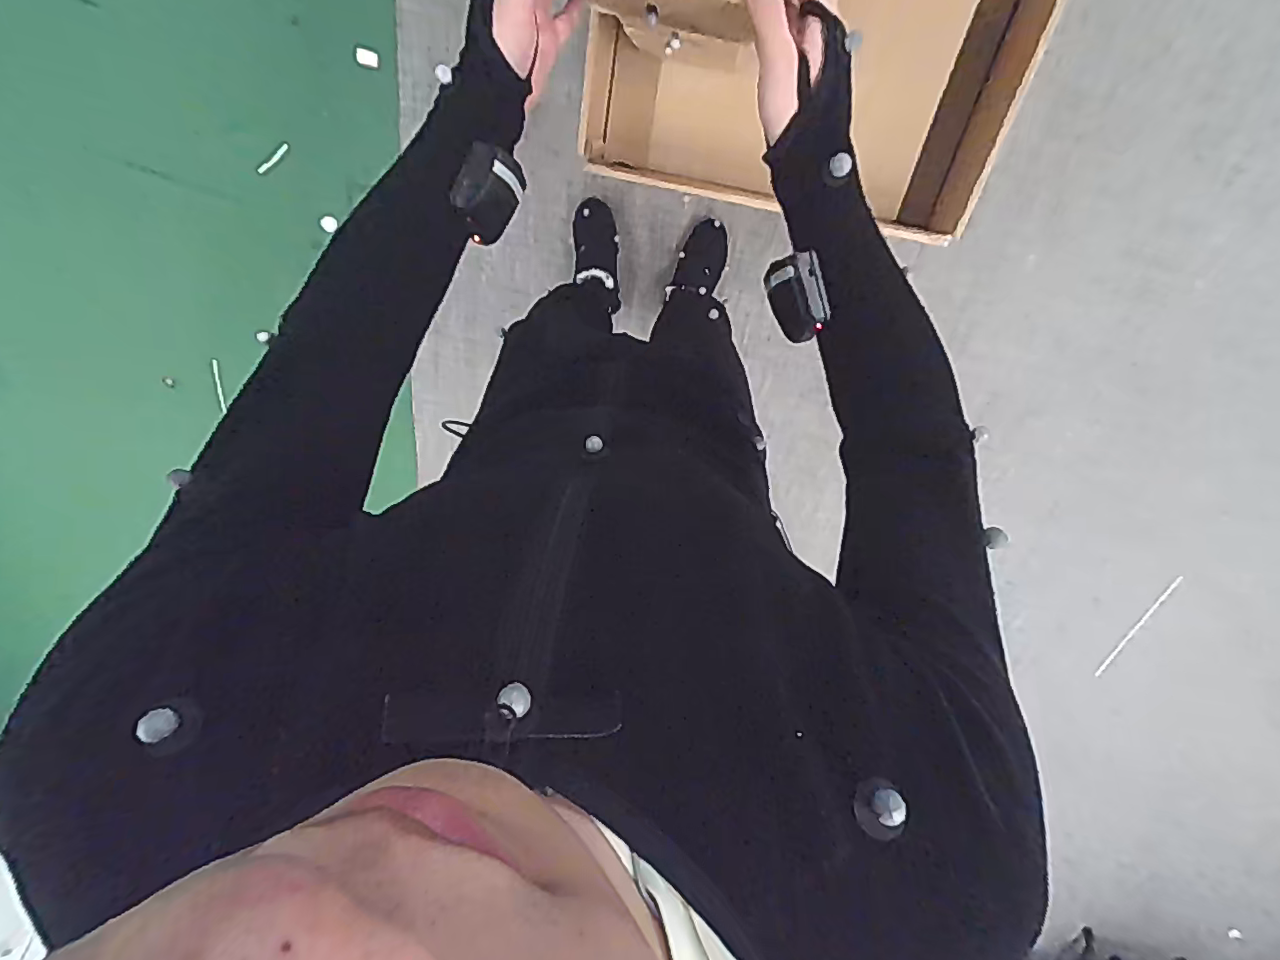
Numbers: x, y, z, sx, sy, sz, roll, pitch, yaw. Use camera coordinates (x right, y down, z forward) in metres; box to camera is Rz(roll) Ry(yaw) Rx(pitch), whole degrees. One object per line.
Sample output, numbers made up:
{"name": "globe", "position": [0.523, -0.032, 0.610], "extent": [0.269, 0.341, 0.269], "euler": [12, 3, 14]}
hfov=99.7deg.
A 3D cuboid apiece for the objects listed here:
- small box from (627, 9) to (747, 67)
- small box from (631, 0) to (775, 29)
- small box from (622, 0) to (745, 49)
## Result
{"name": "small box", "position": [0.085, -0.718, 0.762], "extent": [0.168, 0.176, 0.179], "euler": [13, 121, 0]}
{"name": "small box", "position": [0.044, -0.477, 0.404], "extent": [0.168, 0.176, 0.179], "euler": [13, 124, -1]}
{"name": "small box", "position": [0.068, -0.636, 0.620], "extent": [0.168, 0.176, 0.179], "euler": [16, 121, -1]}
